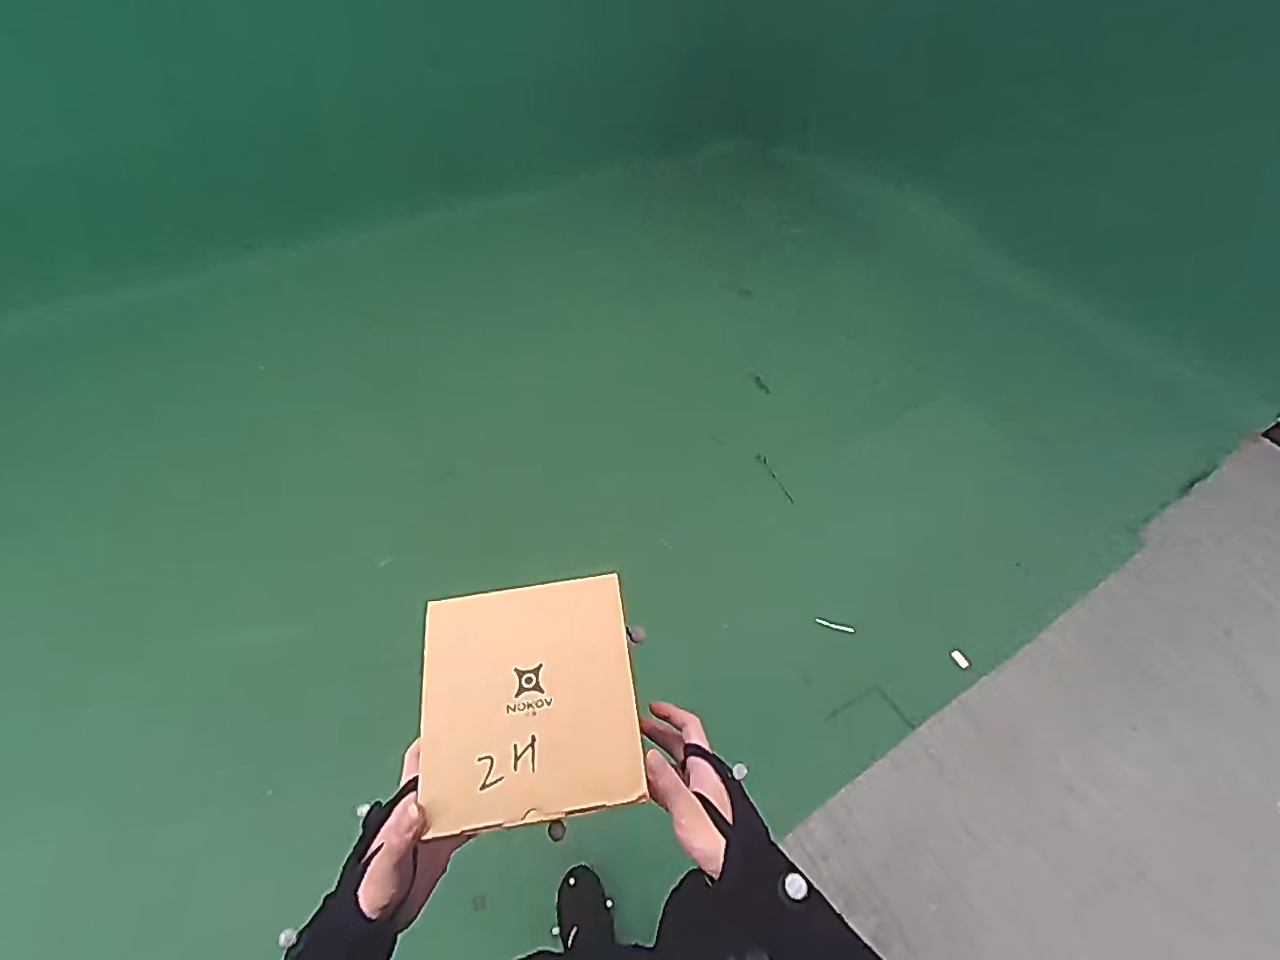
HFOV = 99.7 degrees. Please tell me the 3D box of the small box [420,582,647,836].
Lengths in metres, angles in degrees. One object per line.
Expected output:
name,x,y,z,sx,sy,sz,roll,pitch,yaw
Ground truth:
small box,-0.086,0.213,0.500,0.168,0.176,0.179,-7,59,-3
